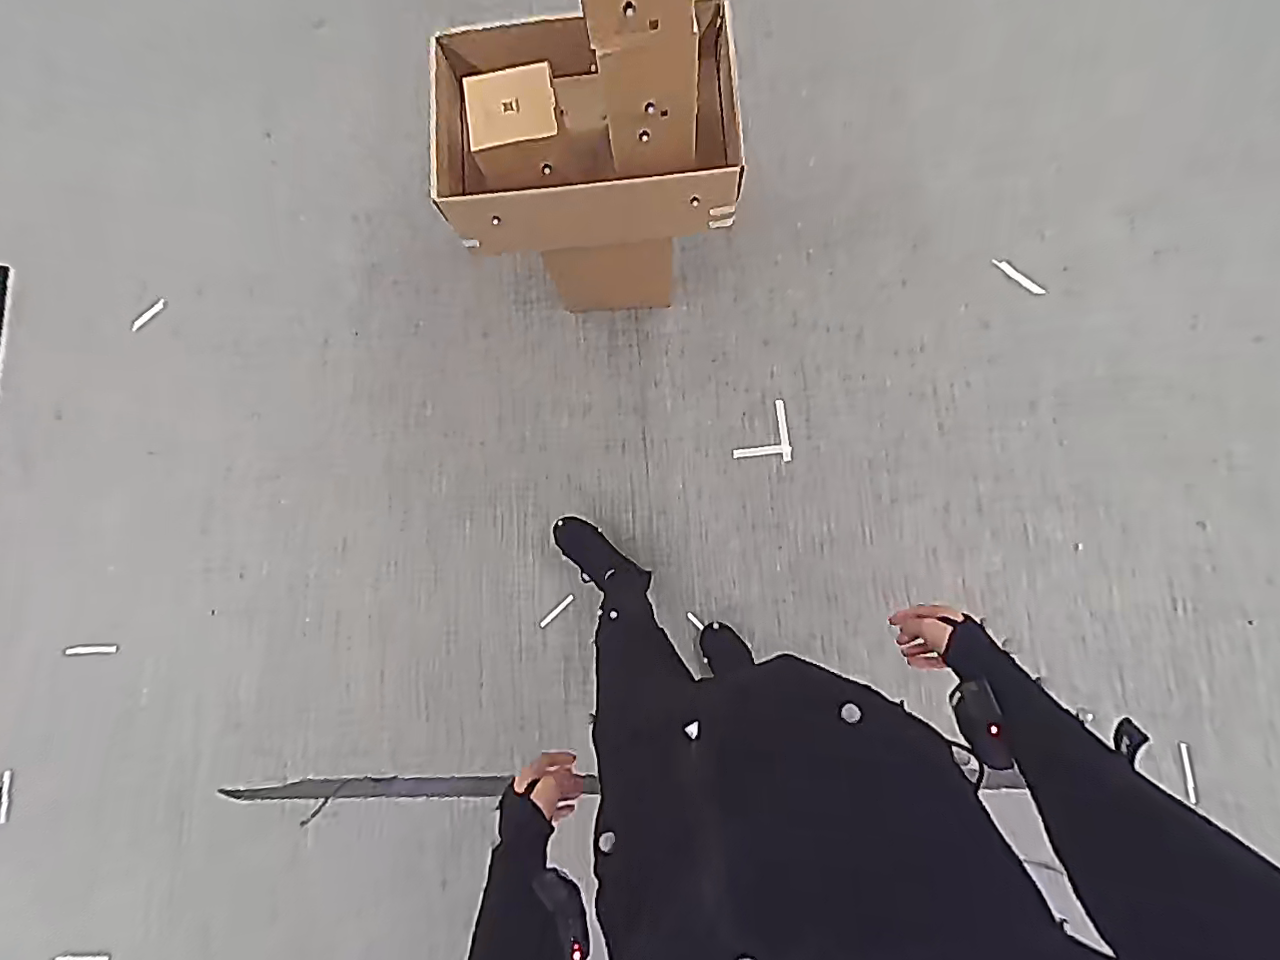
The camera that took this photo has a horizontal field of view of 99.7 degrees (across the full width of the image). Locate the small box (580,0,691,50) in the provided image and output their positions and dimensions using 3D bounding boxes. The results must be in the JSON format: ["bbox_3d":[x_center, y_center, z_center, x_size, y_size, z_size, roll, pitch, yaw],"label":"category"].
[{"bbox_3d":[-0.014,-0.781,0.784,0.168,0.176,0.179,-6,83,4],"label":"small box"}]
